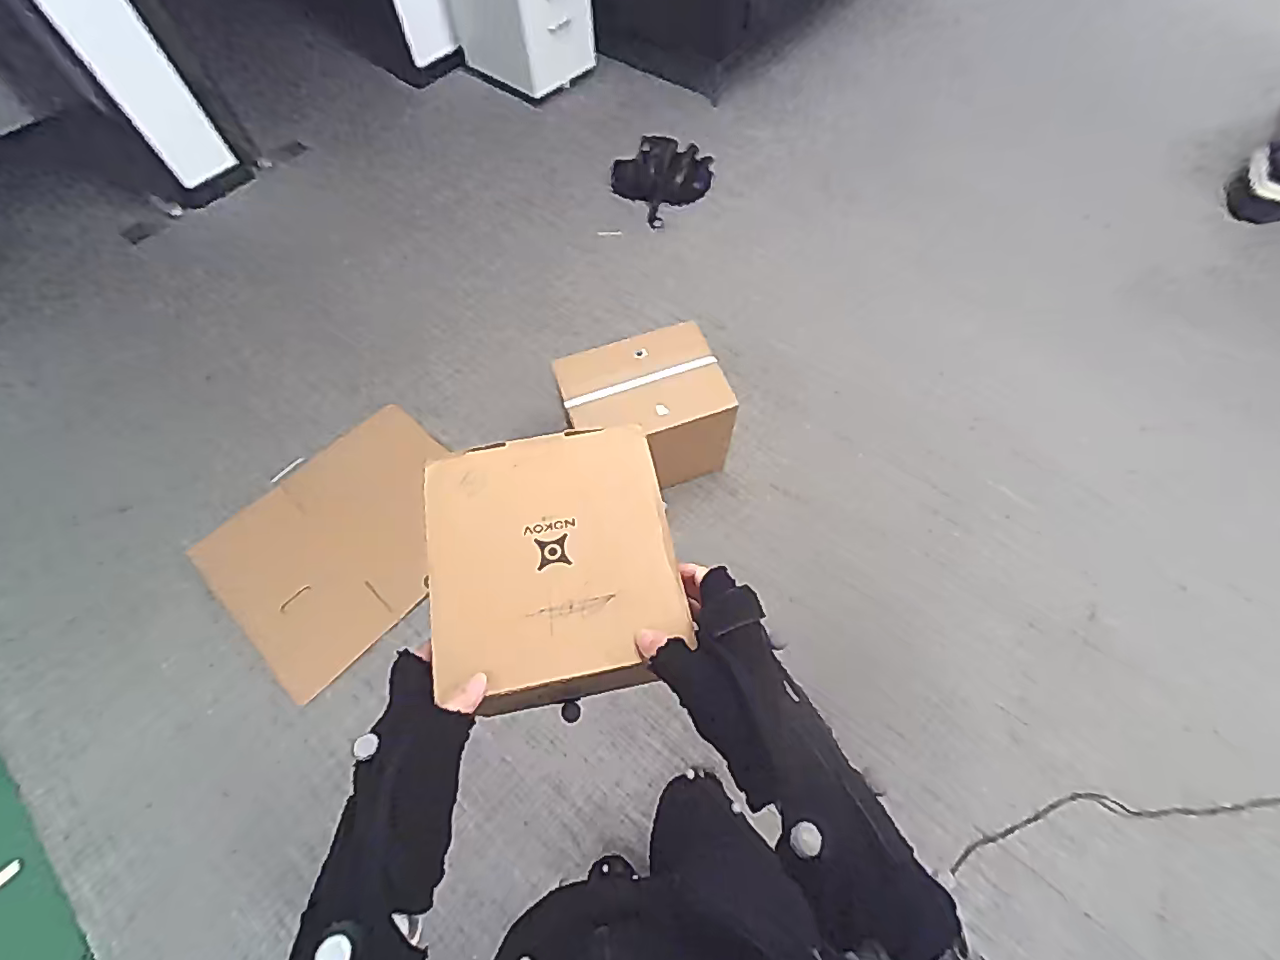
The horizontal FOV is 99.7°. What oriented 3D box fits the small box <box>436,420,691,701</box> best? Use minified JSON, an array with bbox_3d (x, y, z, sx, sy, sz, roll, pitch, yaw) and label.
[{"bbox_3d":[-0.064,0.075,0.455,0.168,0.176,0.179,-9,65,-6],"label":"small box"}]
